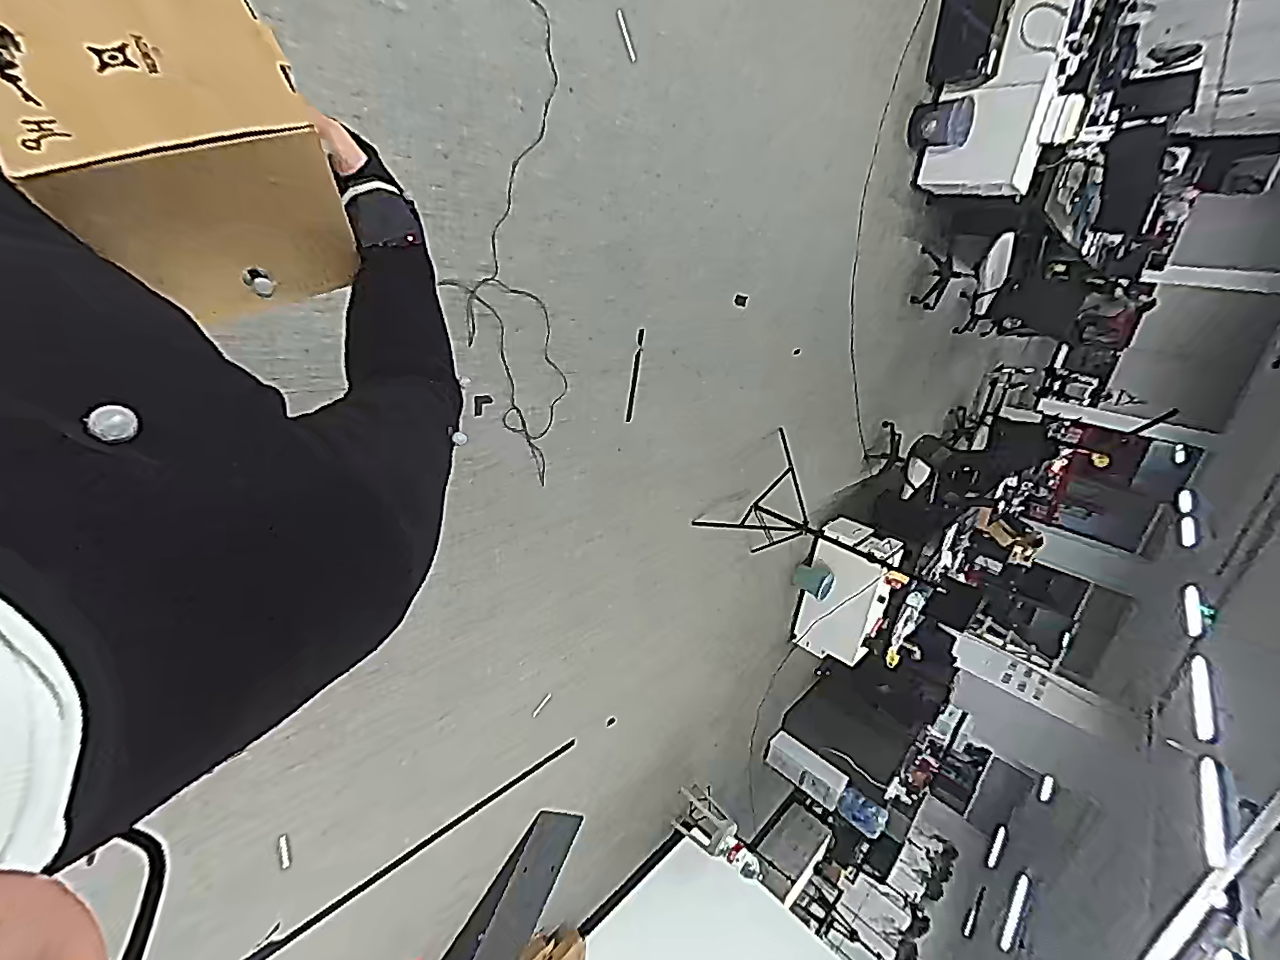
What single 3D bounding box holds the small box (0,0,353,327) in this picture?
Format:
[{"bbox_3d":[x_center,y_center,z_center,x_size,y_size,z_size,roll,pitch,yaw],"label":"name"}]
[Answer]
[{"bbox_3d":[-0.368,-0.262,0.457,0.179,0.168,0.176,-27,169,-22],"label":"small box"}]
